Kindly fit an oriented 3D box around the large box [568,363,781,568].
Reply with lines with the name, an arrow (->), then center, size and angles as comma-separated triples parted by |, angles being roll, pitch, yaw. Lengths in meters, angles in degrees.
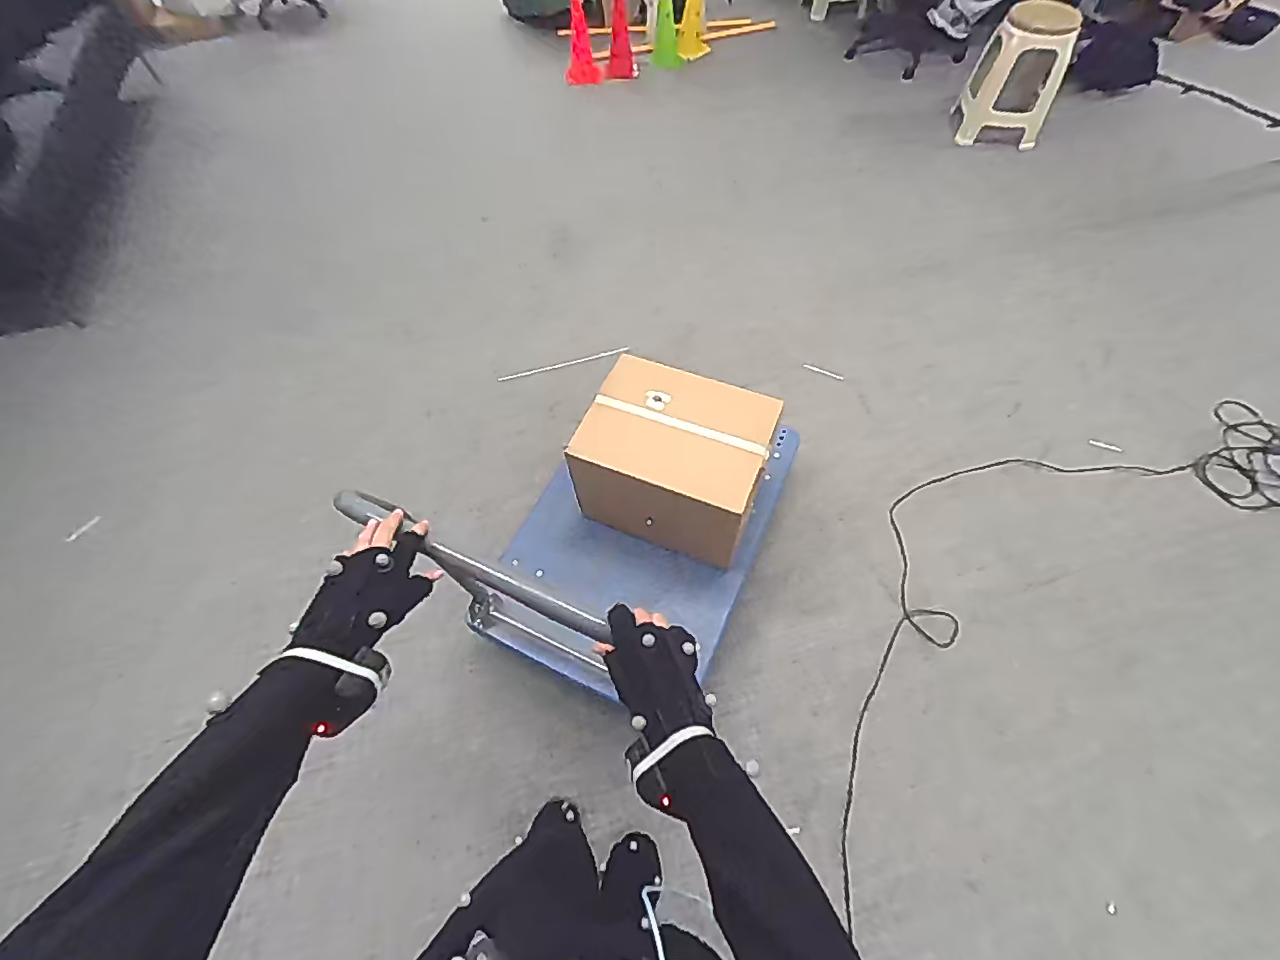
large box -> 0.091, -0.029, 1.325 | 0.408, 0.320, 0.320 | 18, 61, 14
